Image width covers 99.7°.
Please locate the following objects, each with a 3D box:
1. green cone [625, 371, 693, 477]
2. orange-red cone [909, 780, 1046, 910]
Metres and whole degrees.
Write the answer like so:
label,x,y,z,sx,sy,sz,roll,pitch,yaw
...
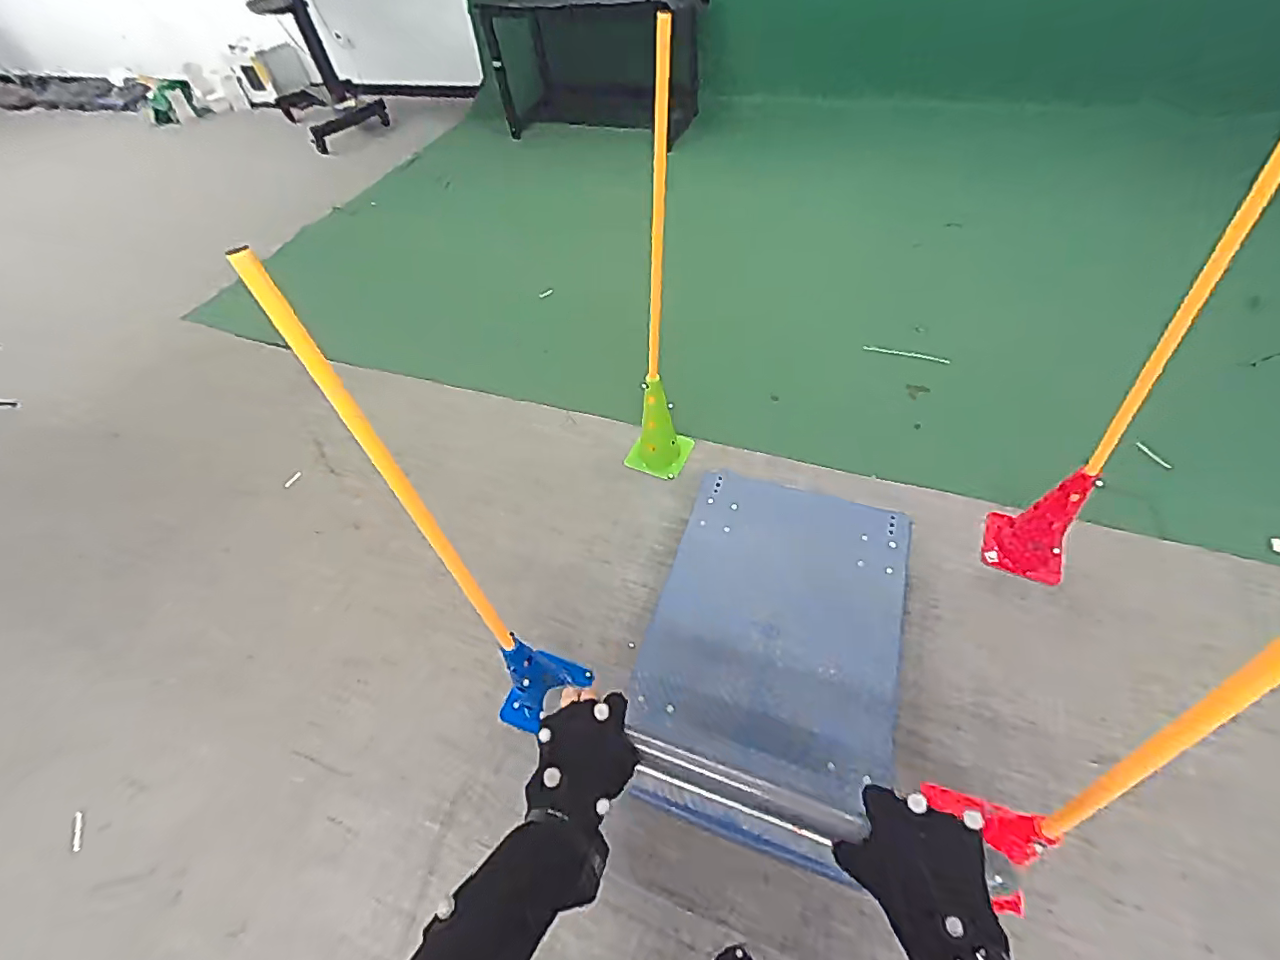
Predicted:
label,x,y,z,sx,sy,sz,roll,pitch,yaw
green cone,0.053,-0.210,1.791,0.202,0.368,0.200,18,56,20
orange-red cone,0.677,0.679,1.041,0.199,0.360,0.198,13,54,18
